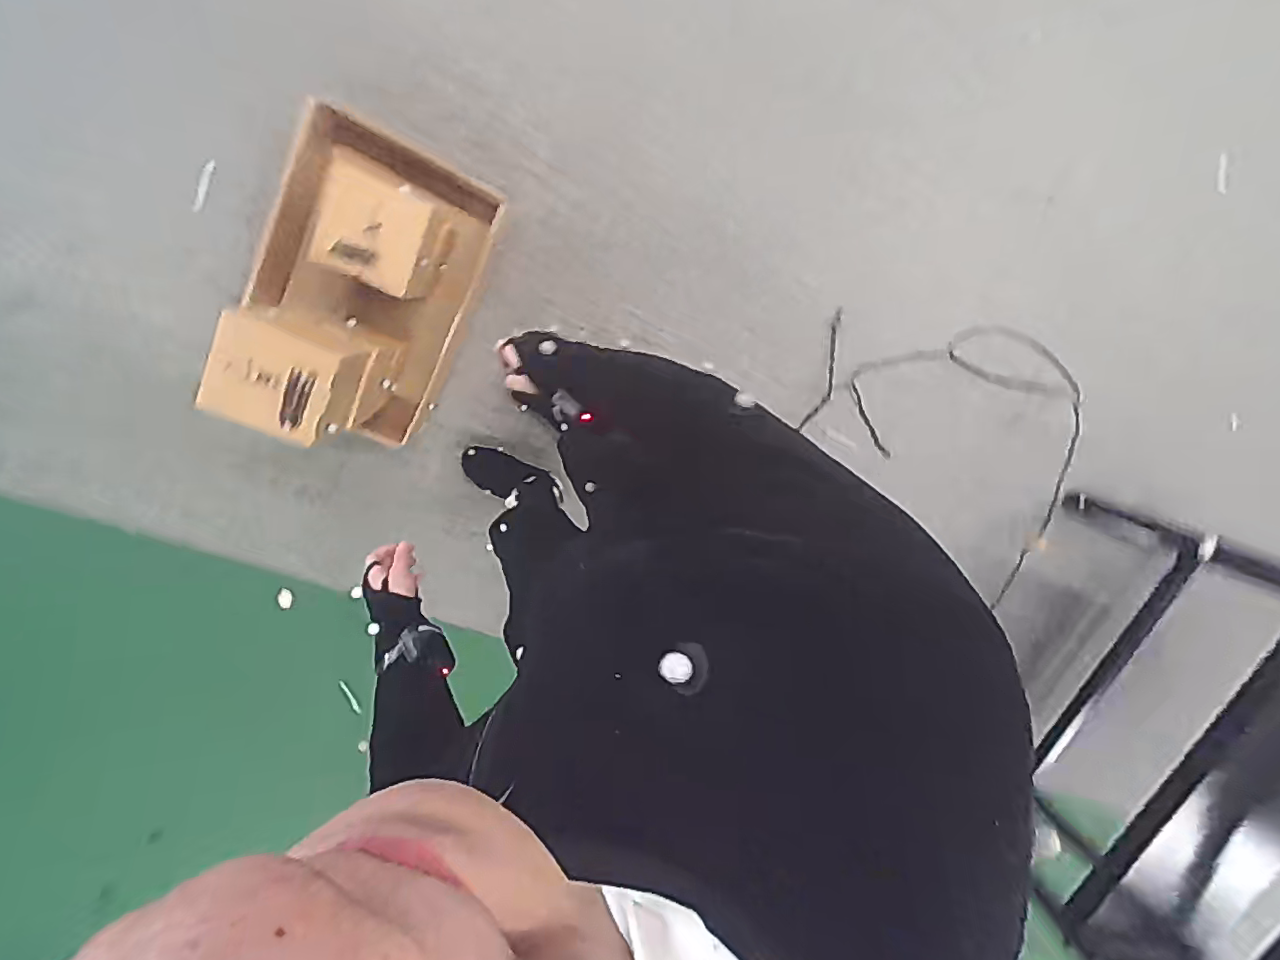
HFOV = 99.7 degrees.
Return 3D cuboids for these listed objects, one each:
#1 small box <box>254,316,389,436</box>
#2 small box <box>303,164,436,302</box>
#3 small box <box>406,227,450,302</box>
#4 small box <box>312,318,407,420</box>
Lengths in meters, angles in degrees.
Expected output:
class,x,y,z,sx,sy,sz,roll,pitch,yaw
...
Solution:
class,x,y,z,sx,sy,sz,roll,pitch,yaw
small box,-0.622,-0.212,1.081,0.168,0.176,0.179,22,101,-17
small box,-0.501,-0.455,1.026,0.168,0.176,0.179,20,102,-18
small box,-0.534,-0.506,1.179,0.179,0.176,0.168,25,101,-18
small box,-0.657,-0.259,1.234,0.179,0.176,0.168,24,101,-17
